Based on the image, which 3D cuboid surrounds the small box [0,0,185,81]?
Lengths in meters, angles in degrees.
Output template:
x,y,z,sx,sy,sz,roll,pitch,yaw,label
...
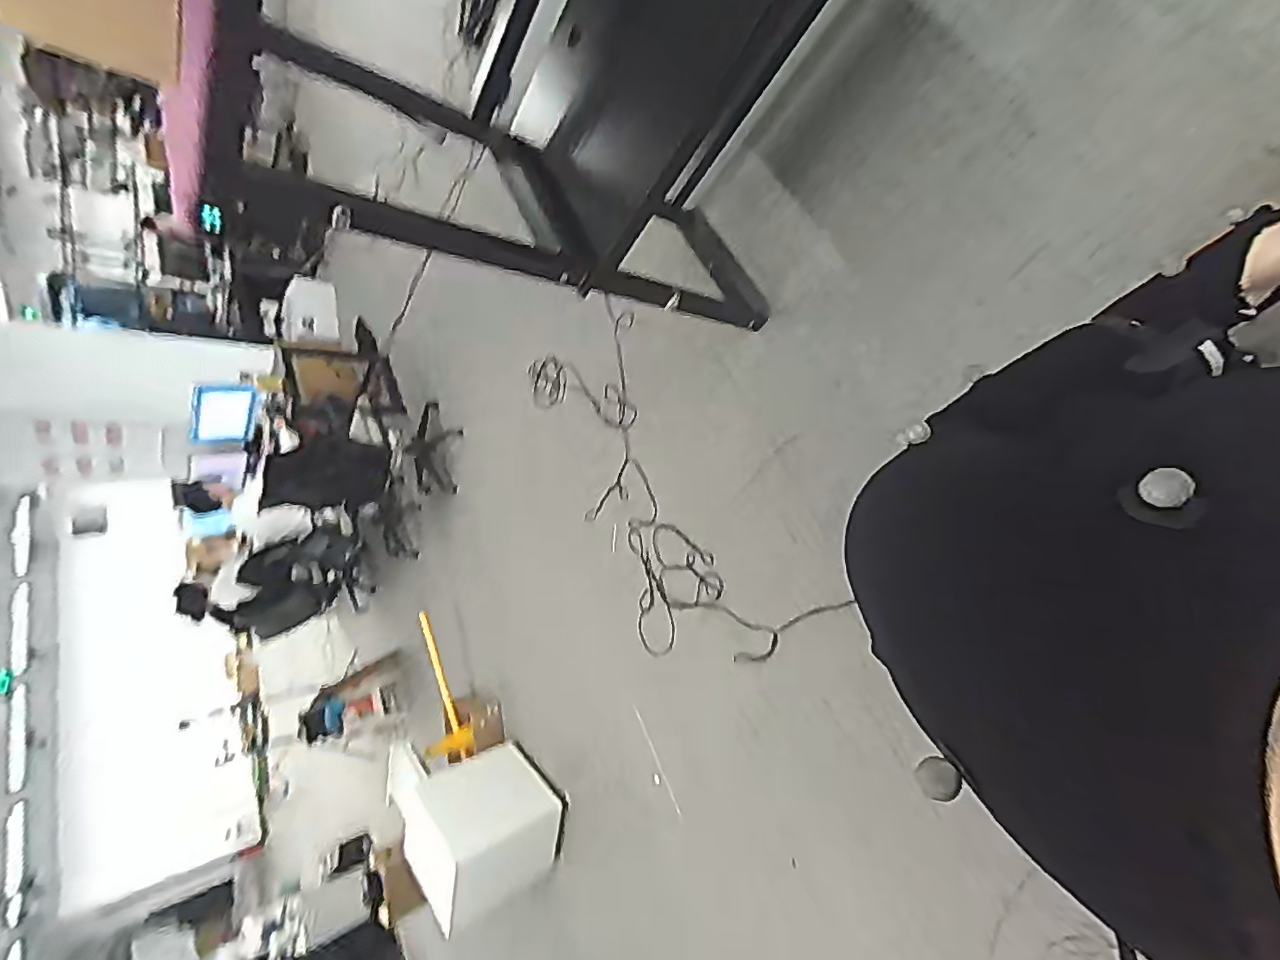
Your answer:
x,y,z,sx,sy,sz,roll,pitch,yaw,label
-0.672,-0.644,0.661,0.179,0.176,0.168,-45,62,38,small box
